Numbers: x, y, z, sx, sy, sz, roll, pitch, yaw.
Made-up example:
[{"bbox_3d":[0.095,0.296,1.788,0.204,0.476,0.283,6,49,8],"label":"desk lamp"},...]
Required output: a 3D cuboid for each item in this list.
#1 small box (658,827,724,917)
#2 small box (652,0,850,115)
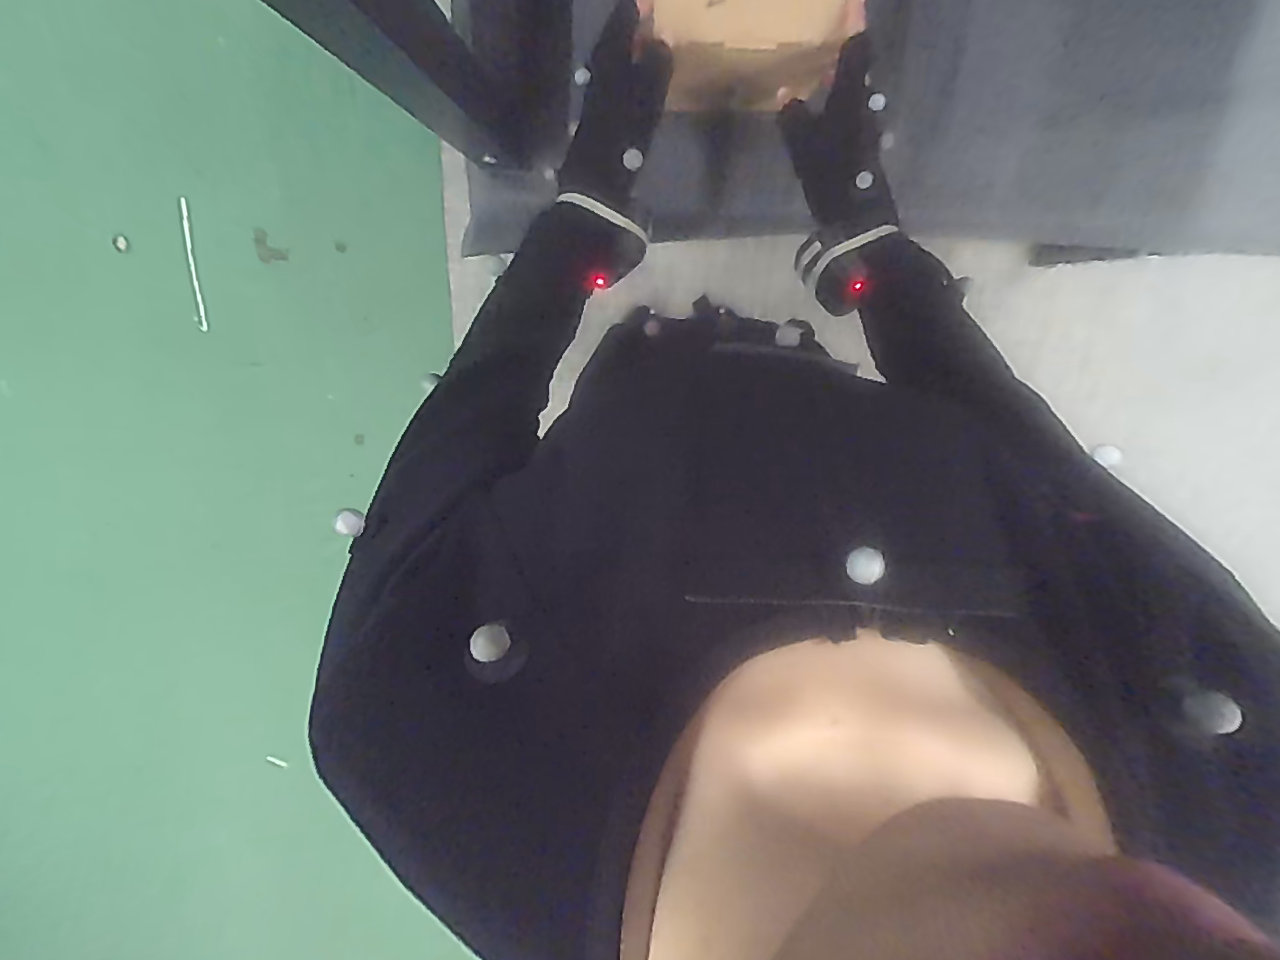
[{"bbox_3d":[0.168,1.322,1.832,0.179,0.176,0.168,18,107,-2],"label":"small box"},{"bbox_3d":[0.096,-0.474,0.509,0.168,0.176,0.179,1,107,2],"label":"small box"}]
